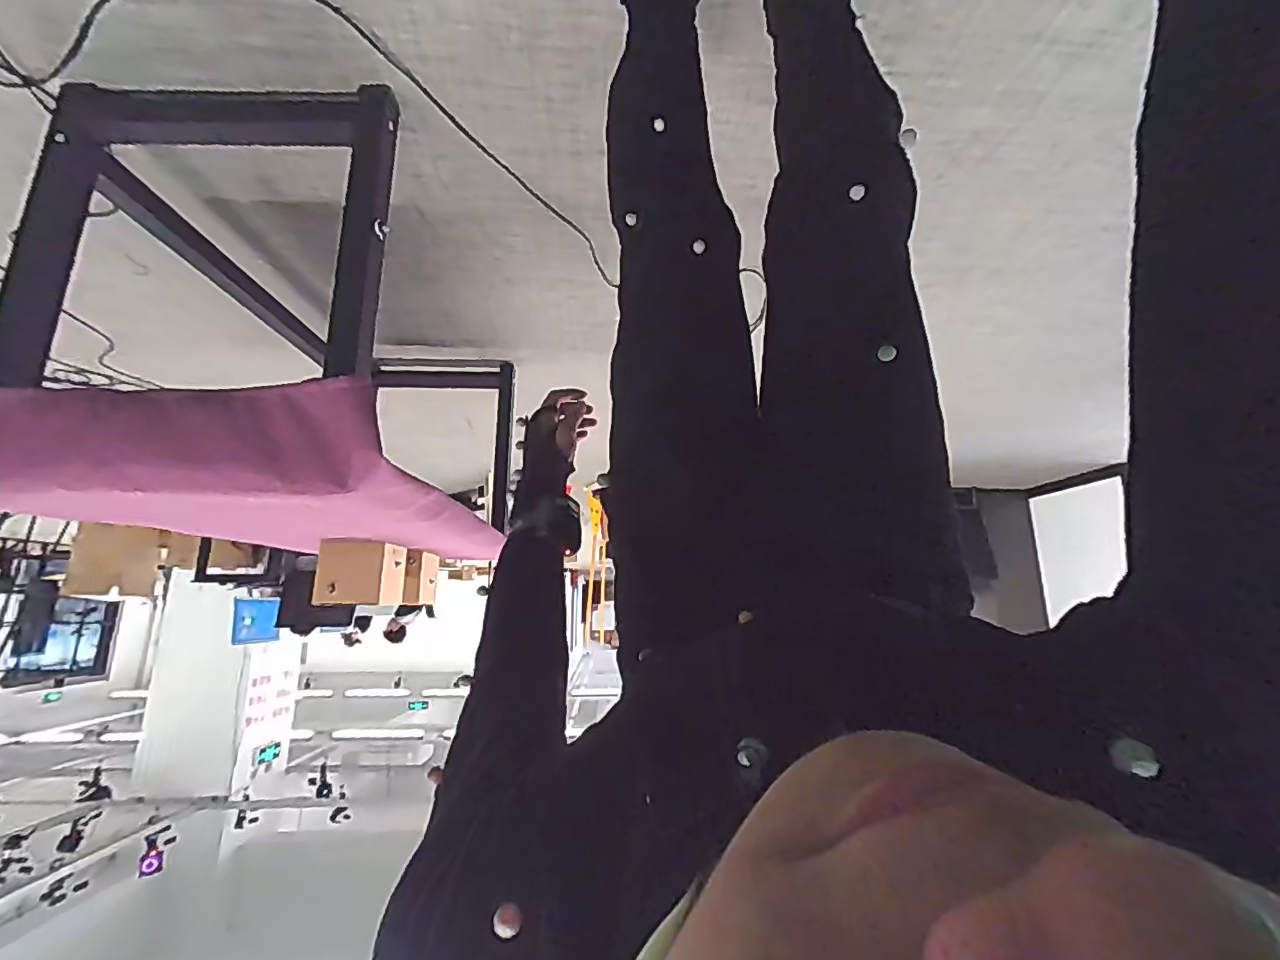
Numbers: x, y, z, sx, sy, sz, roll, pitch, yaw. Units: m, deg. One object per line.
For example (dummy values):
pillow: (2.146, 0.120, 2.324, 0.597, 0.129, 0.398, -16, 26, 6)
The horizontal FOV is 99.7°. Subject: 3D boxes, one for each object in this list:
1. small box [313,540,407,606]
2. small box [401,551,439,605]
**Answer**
small box: (-0.769, 0.260, 1.501, 0.179, 0.176, 0.168, 0, 167, -4)
small box: (-0.761, 0.318, 1.750, 0.168, 0.176, 0.179, 1, 168, -3)
